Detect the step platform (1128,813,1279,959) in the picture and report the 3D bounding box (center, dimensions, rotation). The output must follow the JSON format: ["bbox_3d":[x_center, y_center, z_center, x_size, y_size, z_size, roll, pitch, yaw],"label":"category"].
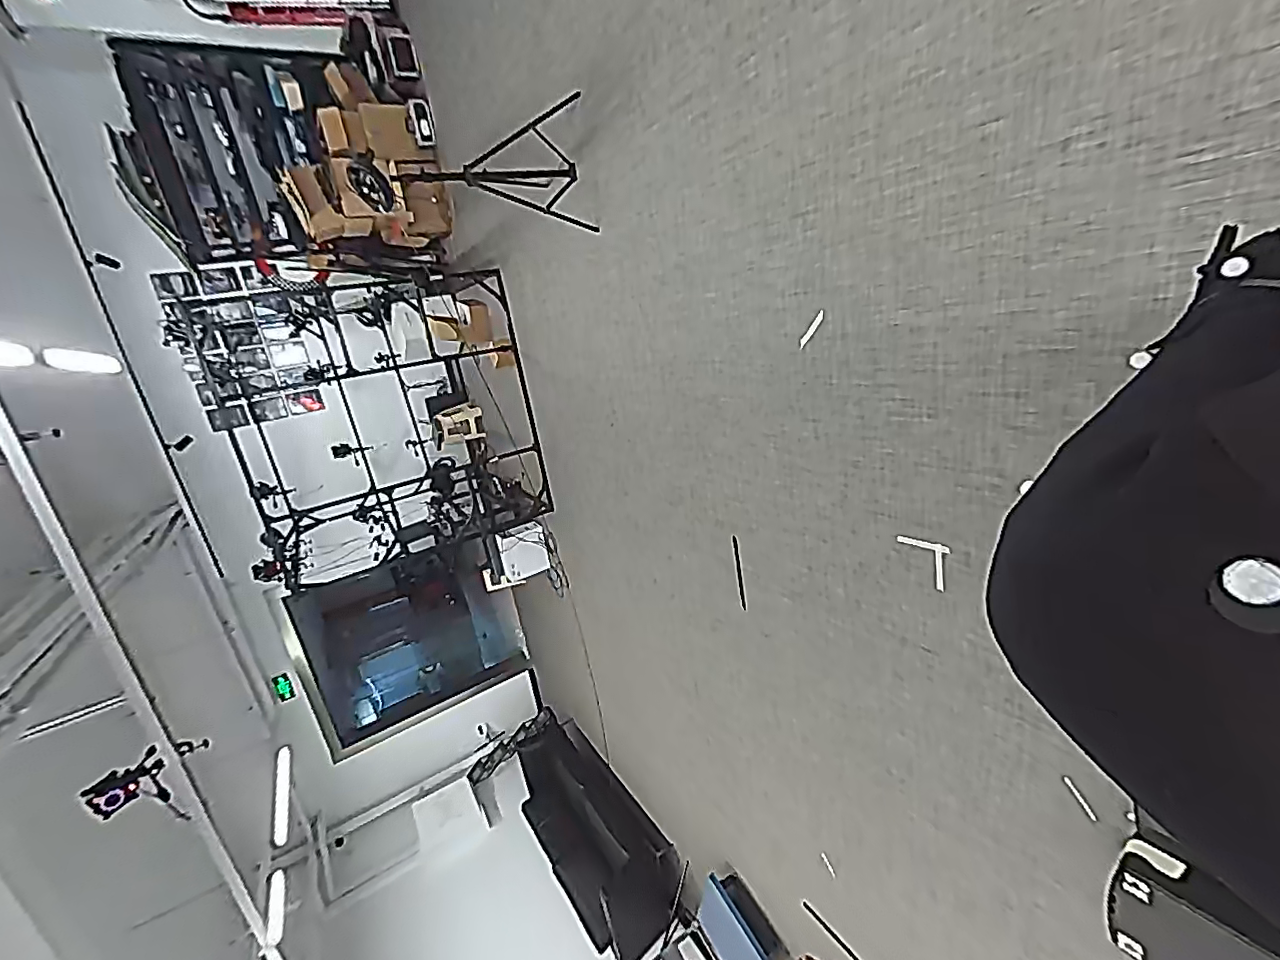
[{"bbox_3d":[1.429,1.029,1.075,0.684,0.204,0.286,18,122,59],"label":"step platform"}]
